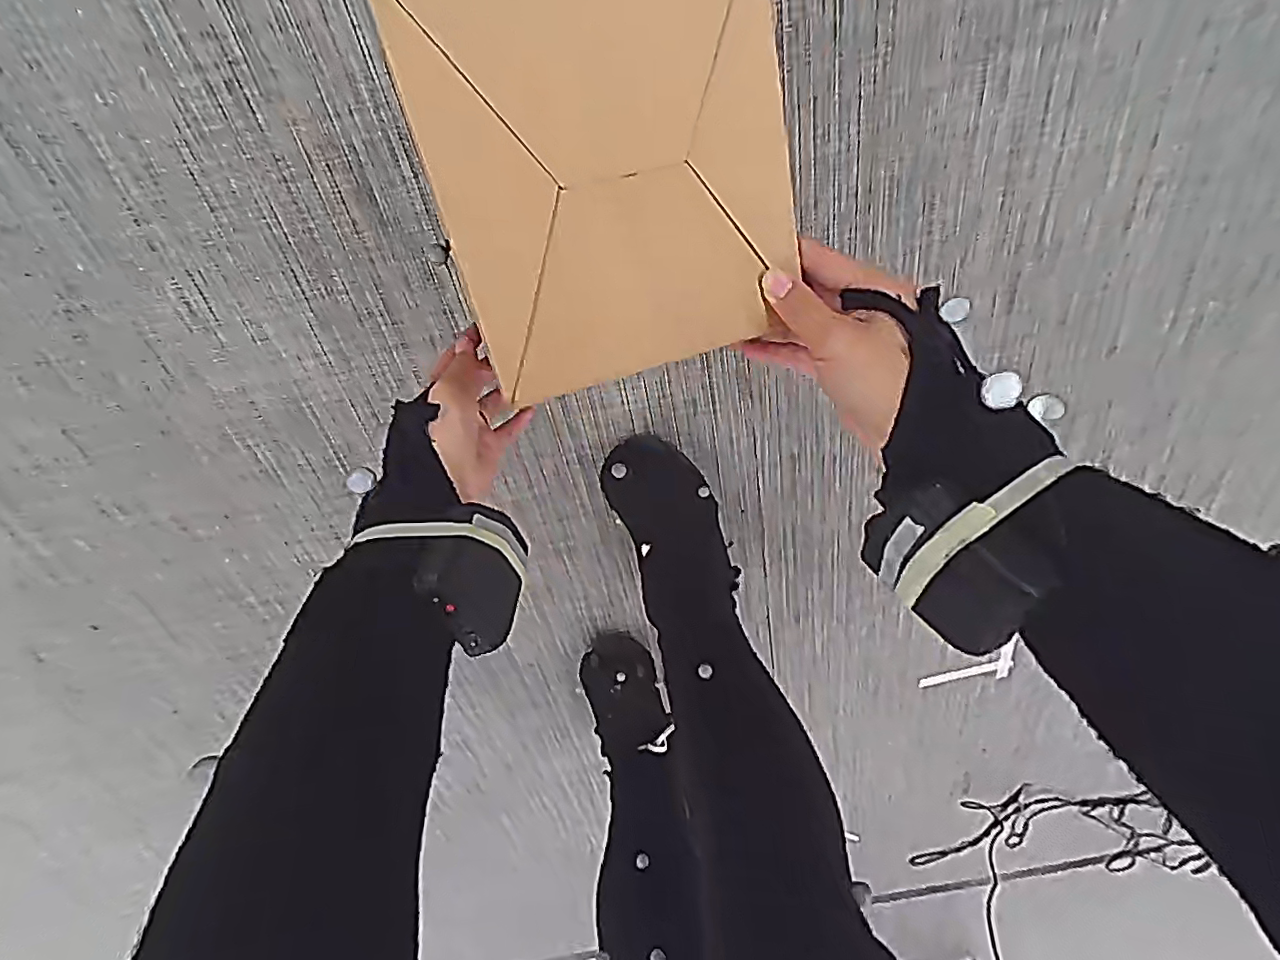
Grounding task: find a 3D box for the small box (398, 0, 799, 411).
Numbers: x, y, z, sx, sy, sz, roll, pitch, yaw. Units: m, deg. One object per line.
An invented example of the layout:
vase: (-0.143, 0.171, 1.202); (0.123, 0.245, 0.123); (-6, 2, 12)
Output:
small box: (-0.027, -0.157, 0.317); (0.168, 0.176, 0.179); (-19, 112, -11)
